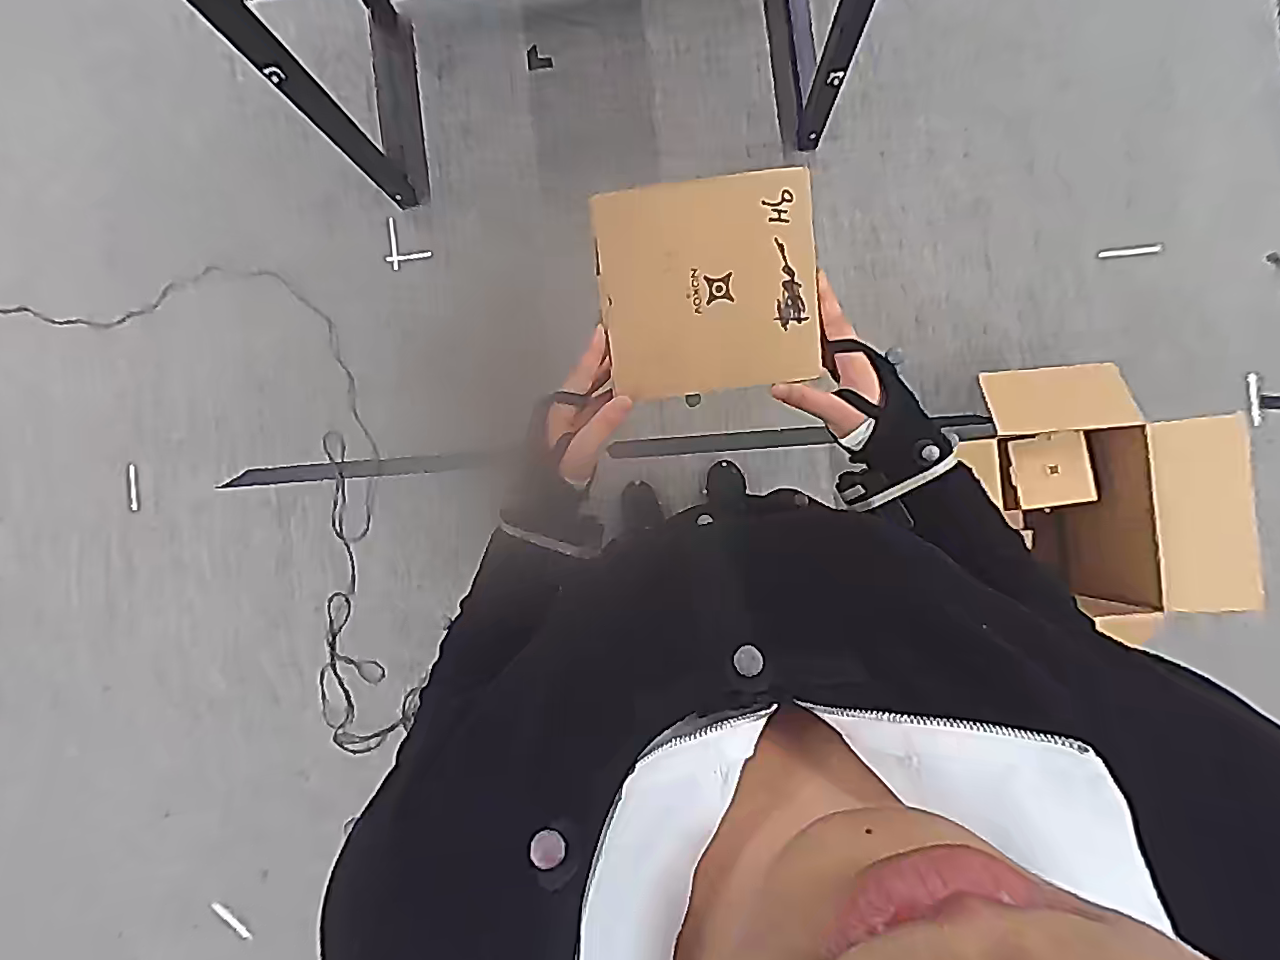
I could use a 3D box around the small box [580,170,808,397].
[{"bbox_3d":[0.049,-0.169,0.521,0.179,0.176,0.168,-6,100,2],"label":"small box"}]
